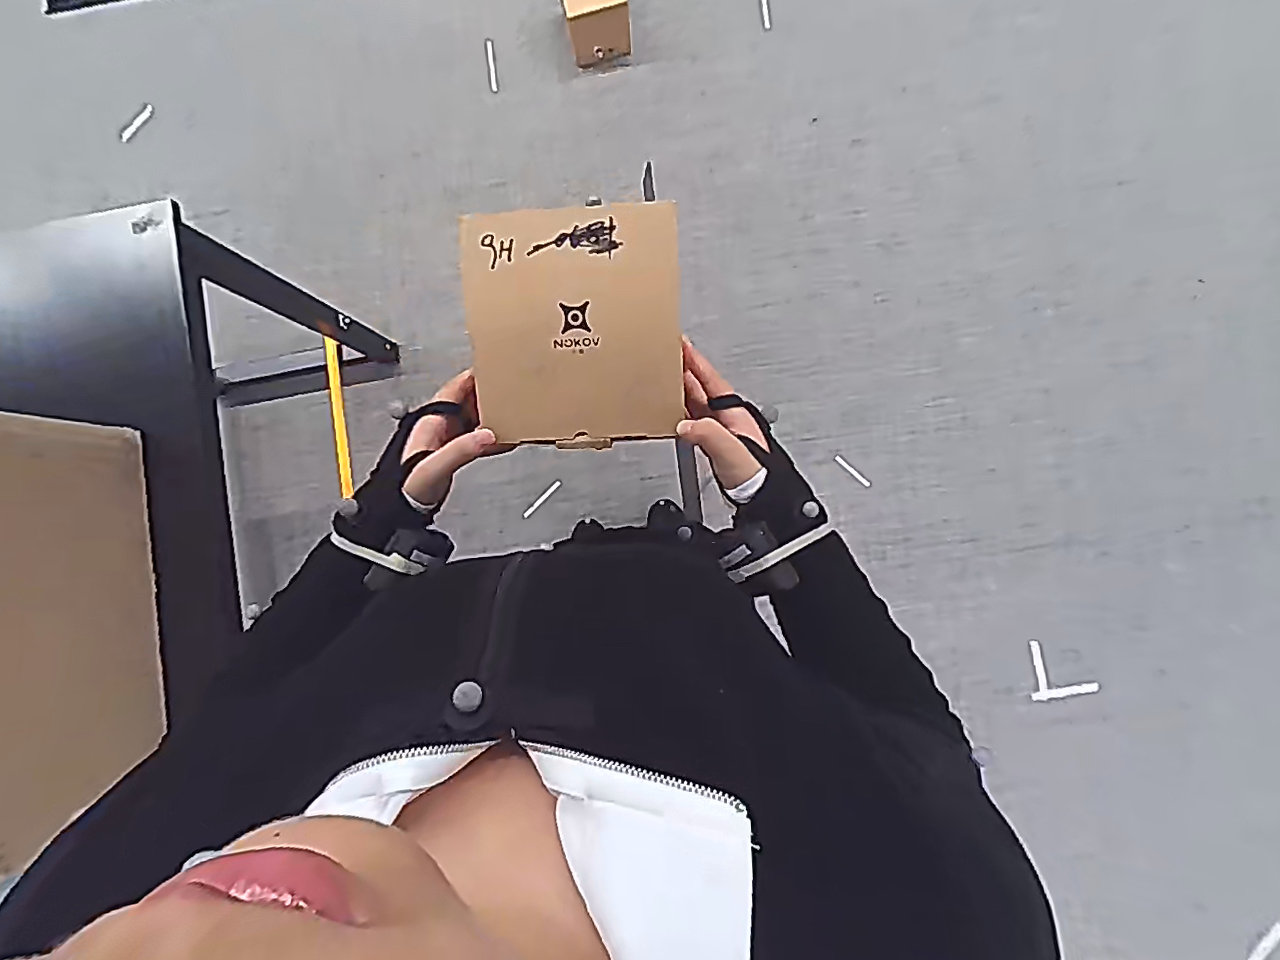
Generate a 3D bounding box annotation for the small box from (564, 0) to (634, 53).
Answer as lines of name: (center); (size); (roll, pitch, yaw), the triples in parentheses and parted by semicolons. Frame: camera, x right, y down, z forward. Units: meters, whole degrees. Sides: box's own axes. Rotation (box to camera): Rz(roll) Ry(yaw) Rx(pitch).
small box: (-0.115, -1.264, 1.392); (0.168, 0.176, 0.179); (-15, 89, 3)
